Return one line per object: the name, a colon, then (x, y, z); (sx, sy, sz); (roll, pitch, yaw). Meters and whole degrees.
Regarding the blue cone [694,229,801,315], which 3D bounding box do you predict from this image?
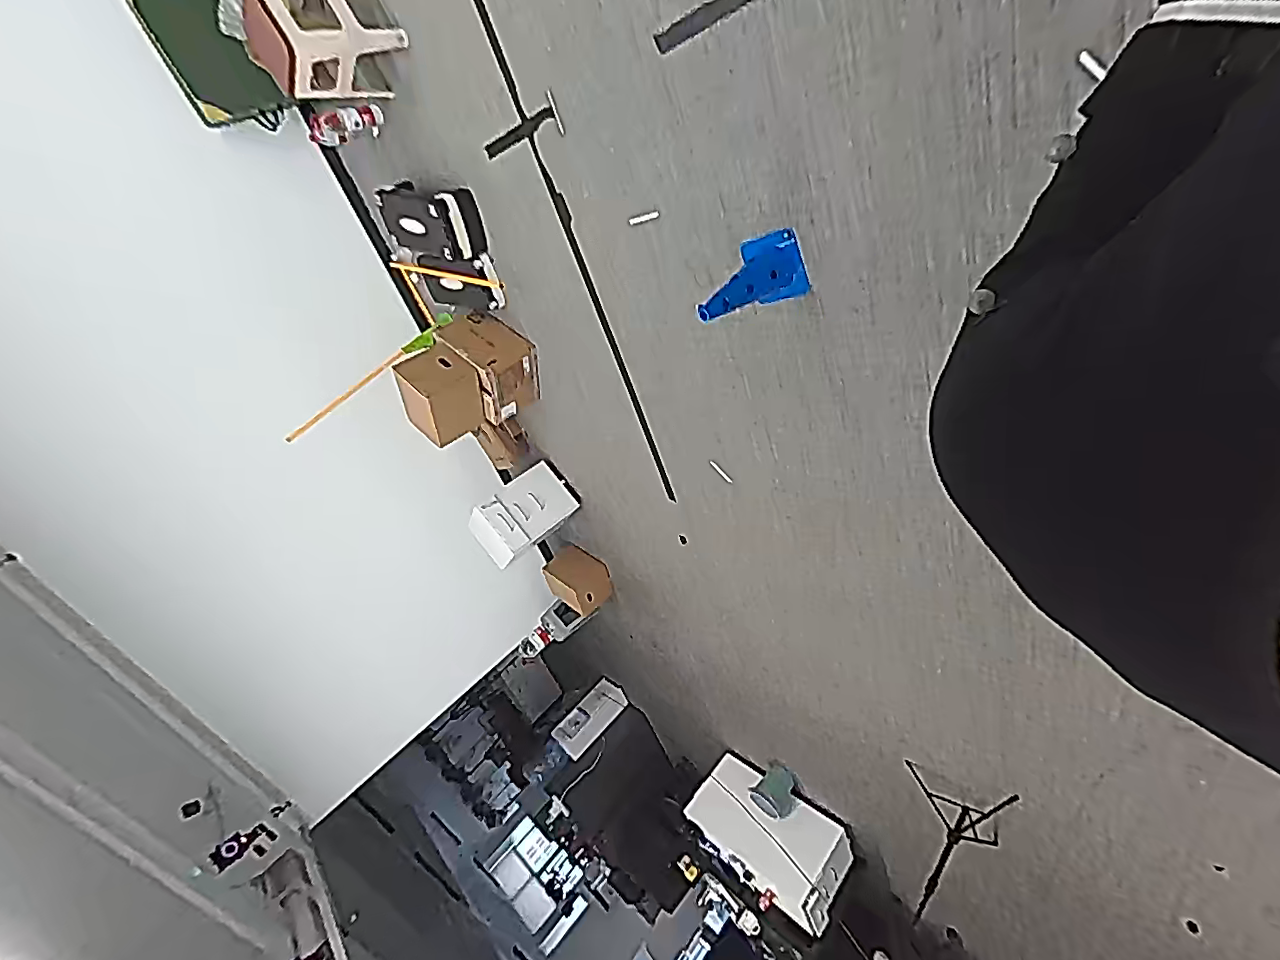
blue cone: (0.289, -0.562, 1.579); (0.193, 0.380, 0.192); (7, 129, 51)
